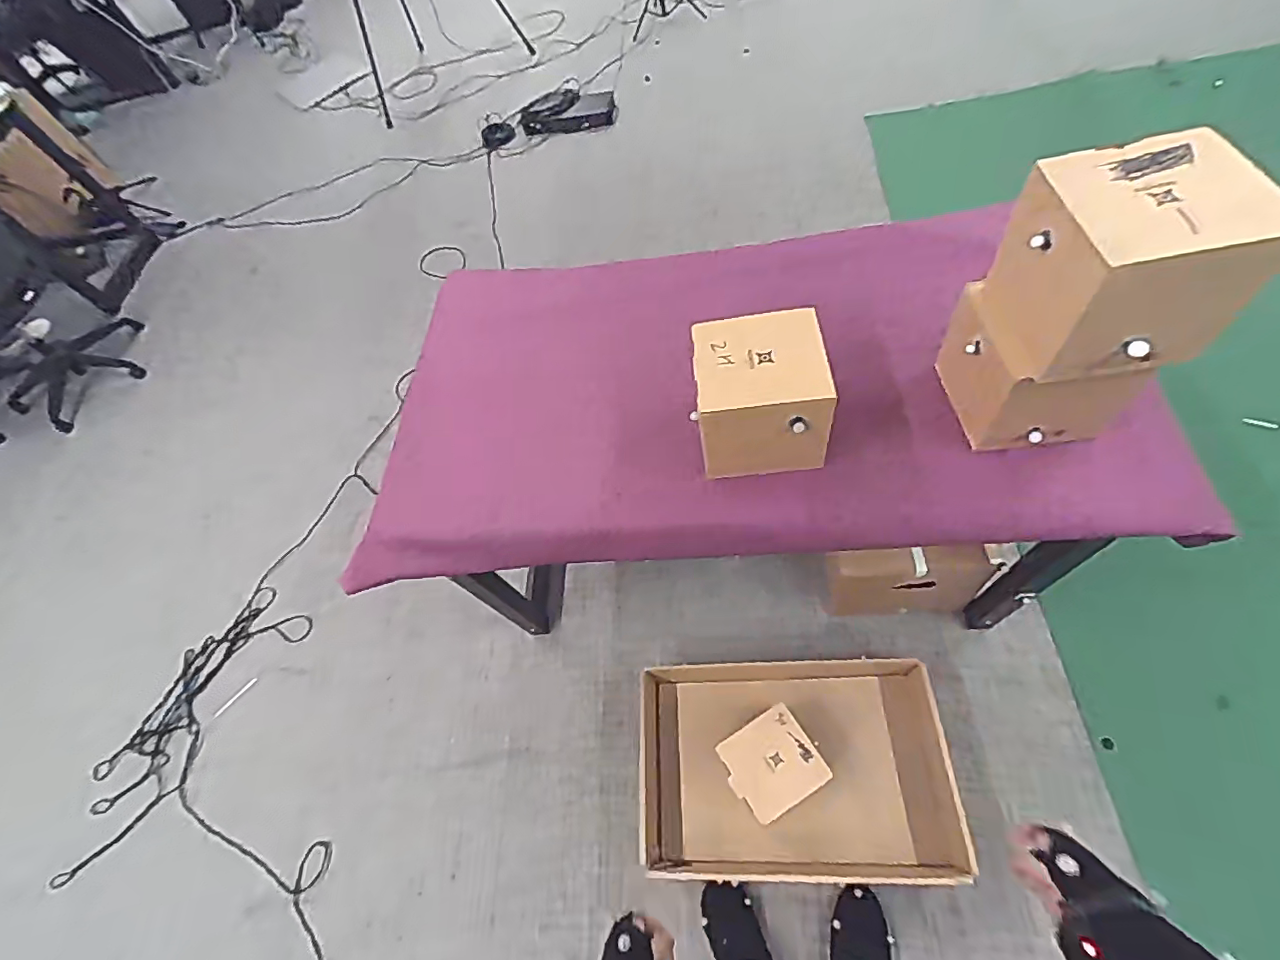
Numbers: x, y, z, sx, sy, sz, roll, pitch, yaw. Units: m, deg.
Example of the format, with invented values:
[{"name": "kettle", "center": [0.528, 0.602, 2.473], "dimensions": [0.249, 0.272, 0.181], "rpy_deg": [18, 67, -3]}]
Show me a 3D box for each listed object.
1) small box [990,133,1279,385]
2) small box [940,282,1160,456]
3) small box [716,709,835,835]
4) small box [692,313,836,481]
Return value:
[{"name": "small box", "center": [0.517, -0.231, 0.587], "dimensions": [0.168, 0.176, 0.179], "rpy_deg": [-8, 58, 10]}, {"name": "small box", "center": [0.533, -0.156, 0.733], "dimensions": [0.168, 0.176, 0.179], "rpy_deg": [-8, 57, 10]}, {"name": "small box", "center": [0.283, 0.615, 1.137], "dimensions": [0.179, 0.176, 0.168], "rpy_deg": [-31, 58, -6]}, {"name": "small box", "center": [0.173, -0.113, 0.789], "dimensions": [0.179, 0.176, 0.168], "rpy_deg": [-6, 57, 10]}]
